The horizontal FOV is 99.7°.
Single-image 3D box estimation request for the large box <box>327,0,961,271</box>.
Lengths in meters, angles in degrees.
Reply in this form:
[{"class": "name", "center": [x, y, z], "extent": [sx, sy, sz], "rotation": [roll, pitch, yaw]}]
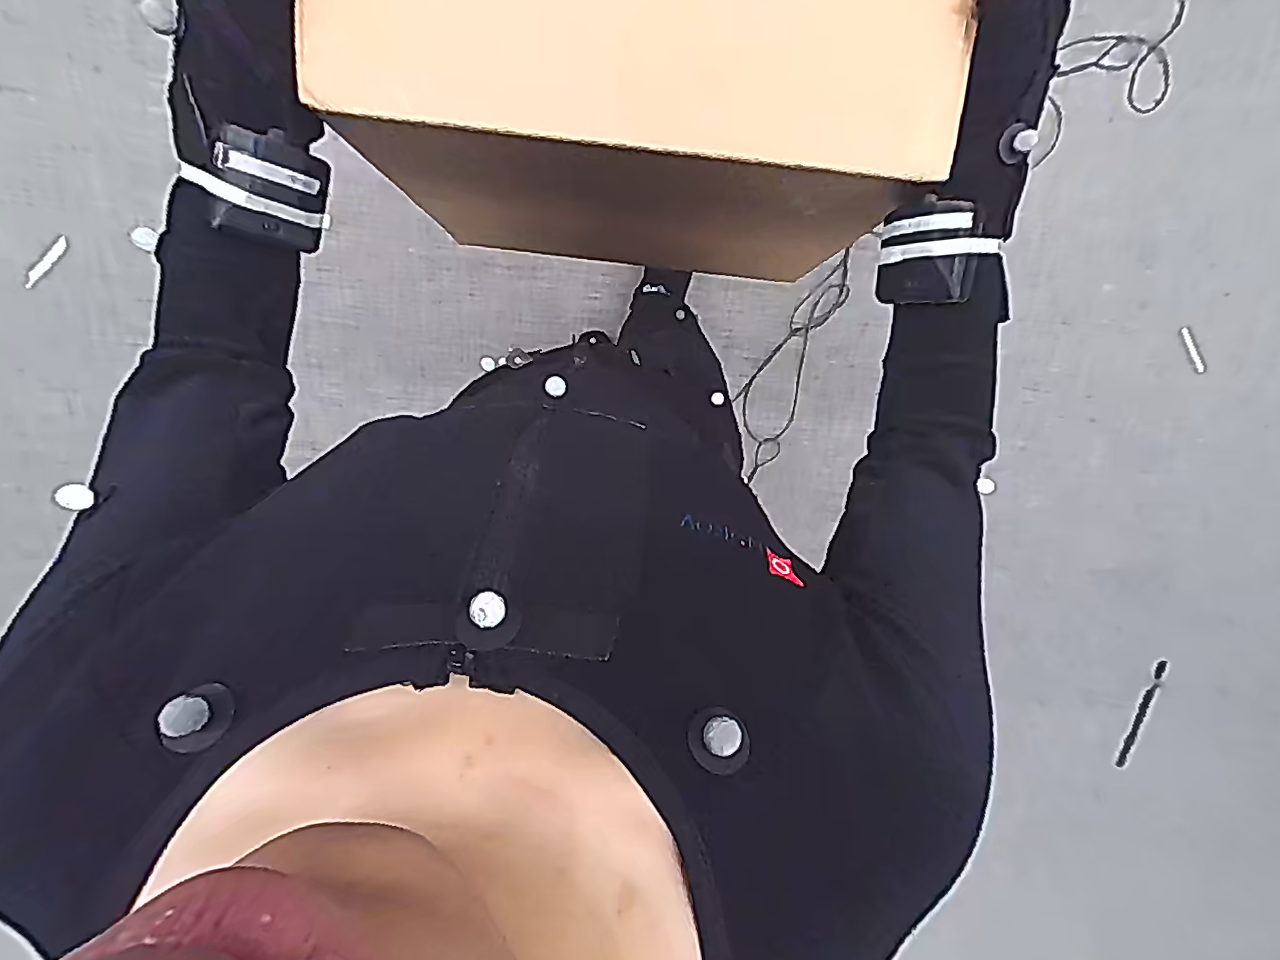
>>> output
[{"class": "large box", "center": [0.006, -0.394, 0.476], "extent": [0.408, 0.320, 0.320], "rotation": [5, 99, -3]}]
